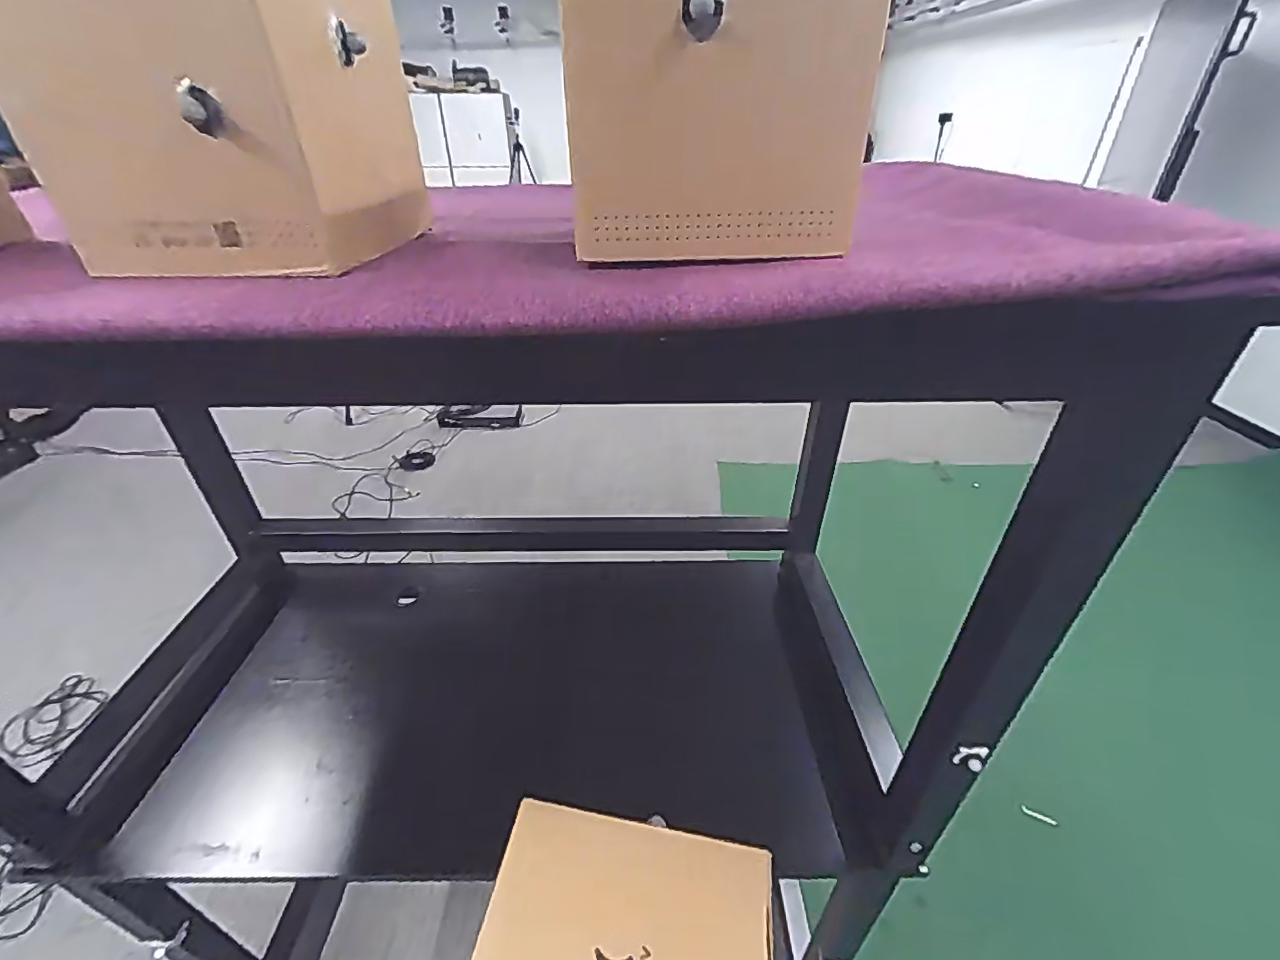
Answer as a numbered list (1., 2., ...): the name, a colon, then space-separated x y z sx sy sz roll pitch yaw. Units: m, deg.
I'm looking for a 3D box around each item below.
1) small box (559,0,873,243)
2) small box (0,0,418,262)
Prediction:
1. small box: 0.043 -0.261 0.366 0.179 0.176 0.168 -1 32 0
2. small box: -0.269 -0.249 0.361 0.168 0.176 0.179 1 33 1
